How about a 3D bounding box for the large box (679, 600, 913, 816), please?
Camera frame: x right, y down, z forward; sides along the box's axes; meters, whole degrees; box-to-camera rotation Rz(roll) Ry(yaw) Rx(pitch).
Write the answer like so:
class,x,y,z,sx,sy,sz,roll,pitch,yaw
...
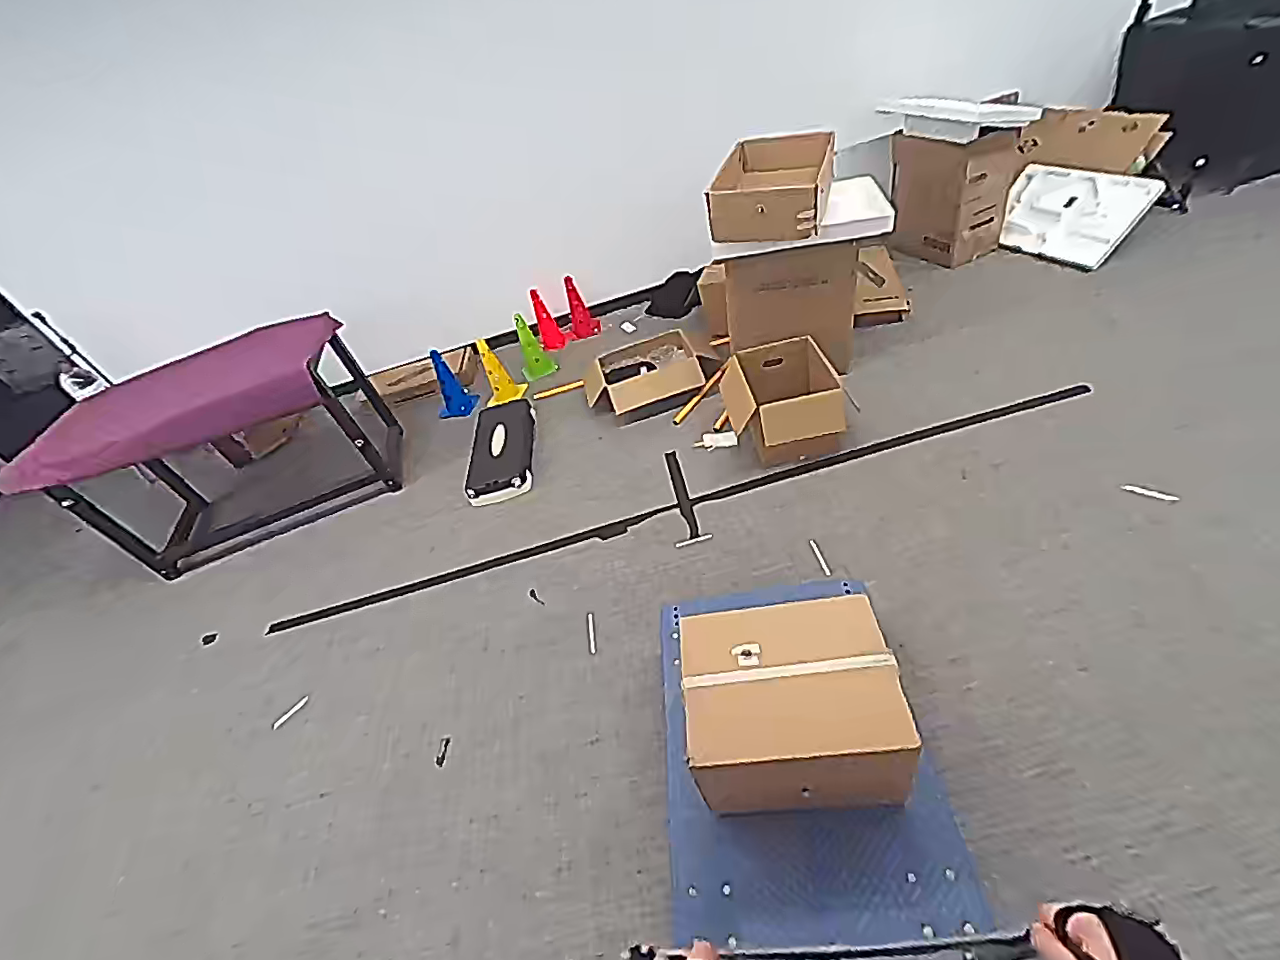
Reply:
class,x,y,z,sx,sy,sz,roll,pitch,yaw
large box,0.319,0.501,1.172,0.408,0.320,0.320,-11,41,10
